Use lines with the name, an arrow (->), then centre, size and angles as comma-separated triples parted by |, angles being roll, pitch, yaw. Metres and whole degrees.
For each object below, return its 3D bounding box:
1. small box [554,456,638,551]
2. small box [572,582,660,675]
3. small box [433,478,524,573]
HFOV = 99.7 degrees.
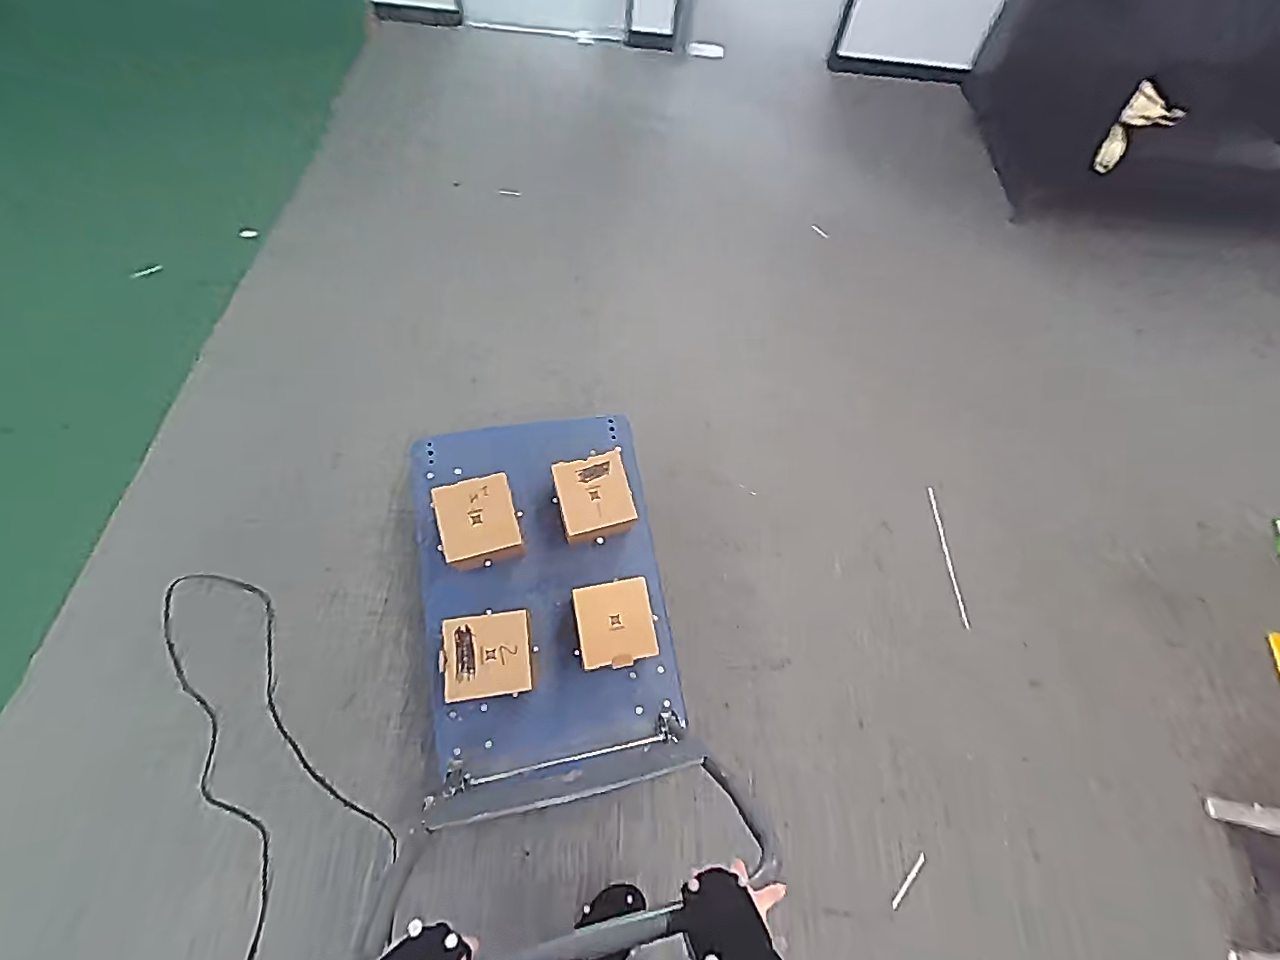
small box -> -0.115, 0.062, 1.326 | 0.168, 0.176, 0.179 | -14, 76, -11
small box -> -0.063, 0.343, 1.249 | 0.168, 0.176, 0.179 | -8, 75, -11
small box -> -0.373, 0.114, 1.272 | 0.168, 0.176, 0.179 | -13, 75, -13
